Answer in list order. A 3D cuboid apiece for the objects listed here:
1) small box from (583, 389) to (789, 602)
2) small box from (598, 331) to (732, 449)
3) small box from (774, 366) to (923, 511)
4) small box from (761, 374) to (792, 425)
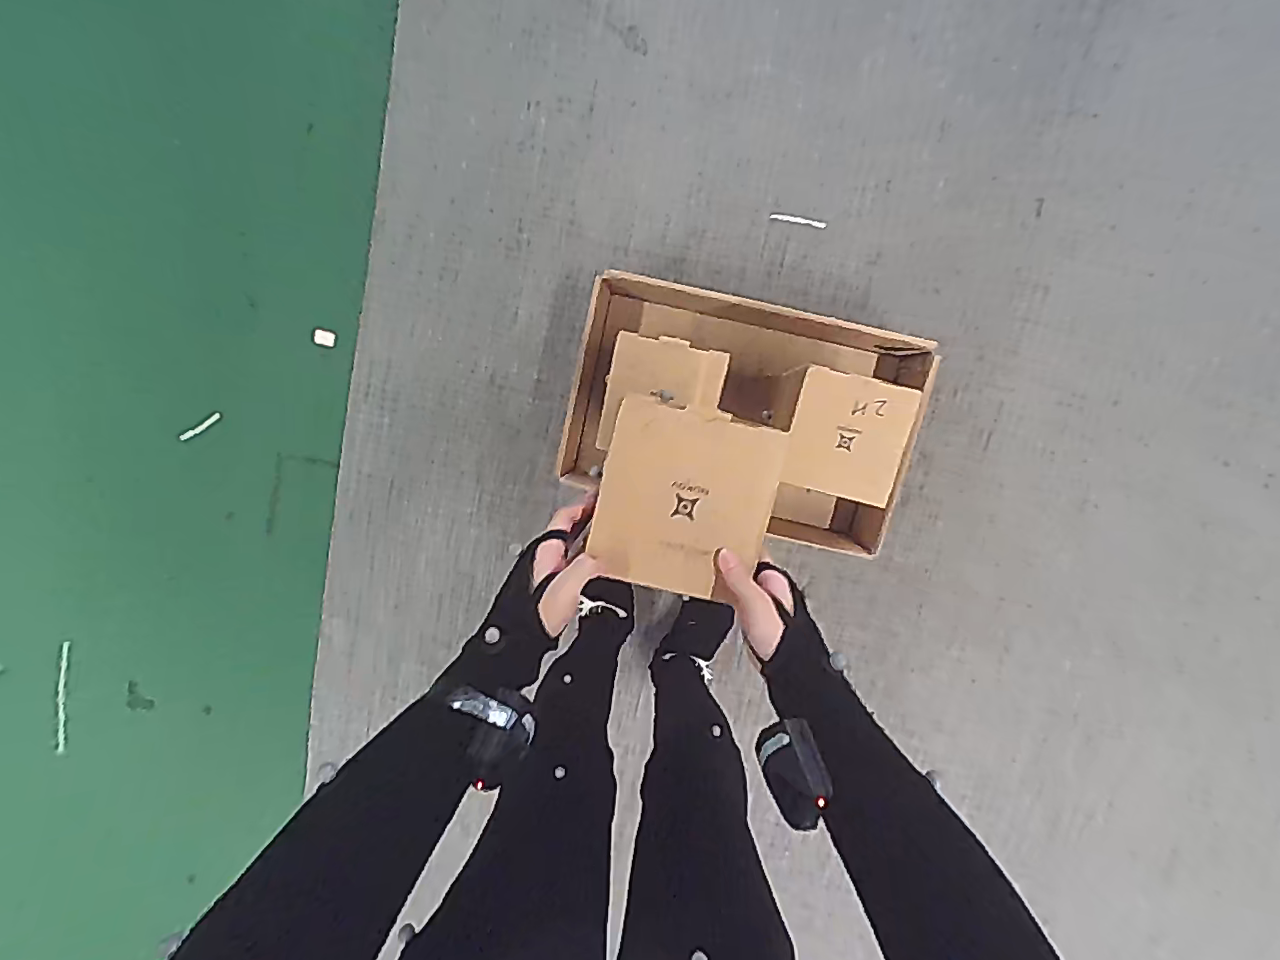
[{"bbox_3d":[0.039,0.008,0.592,0.168,0.176,0.179,14,97,-4],"label":"small box"},{"bbox_3d":[0.039,-0.124,0.863,0.168,0.176,0.179,13,99,3],"label":"small box"},{"bbox_3d":[0.305,-0.069,0.852,0.168,0.176,0.179,15,99,3],"label":"small box"},{"bbox_3d":[0.318,-0.090,1.015,0.168,0.176,0.179,15,99,3],"label":"small box"}]
